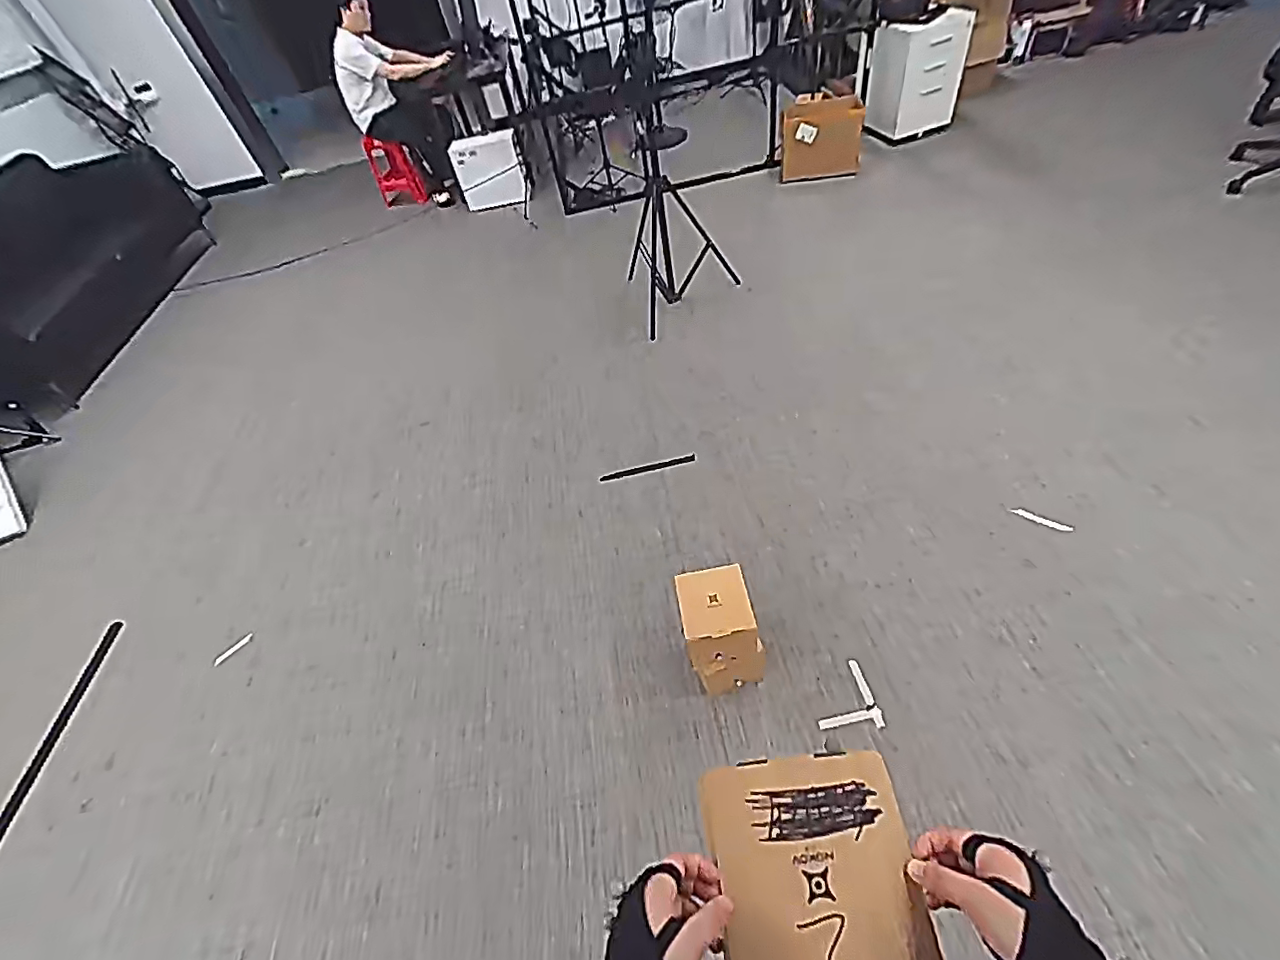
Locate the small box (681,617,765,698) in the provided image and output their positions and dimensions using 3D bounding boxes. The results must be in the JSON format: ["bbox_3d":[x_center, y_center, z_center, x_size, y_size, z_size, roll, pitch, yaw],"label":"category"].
[{"bbox_3d":[0.221,0.448,1.444,0.168,0.176,0.179,-21,48,-5],"label":"small box"}]

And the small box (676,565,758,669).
[{"bbox_3d":[0.187,0.339,1.328,0.168,0.176,0.179,-11,48,2],"label":"small box"}]
